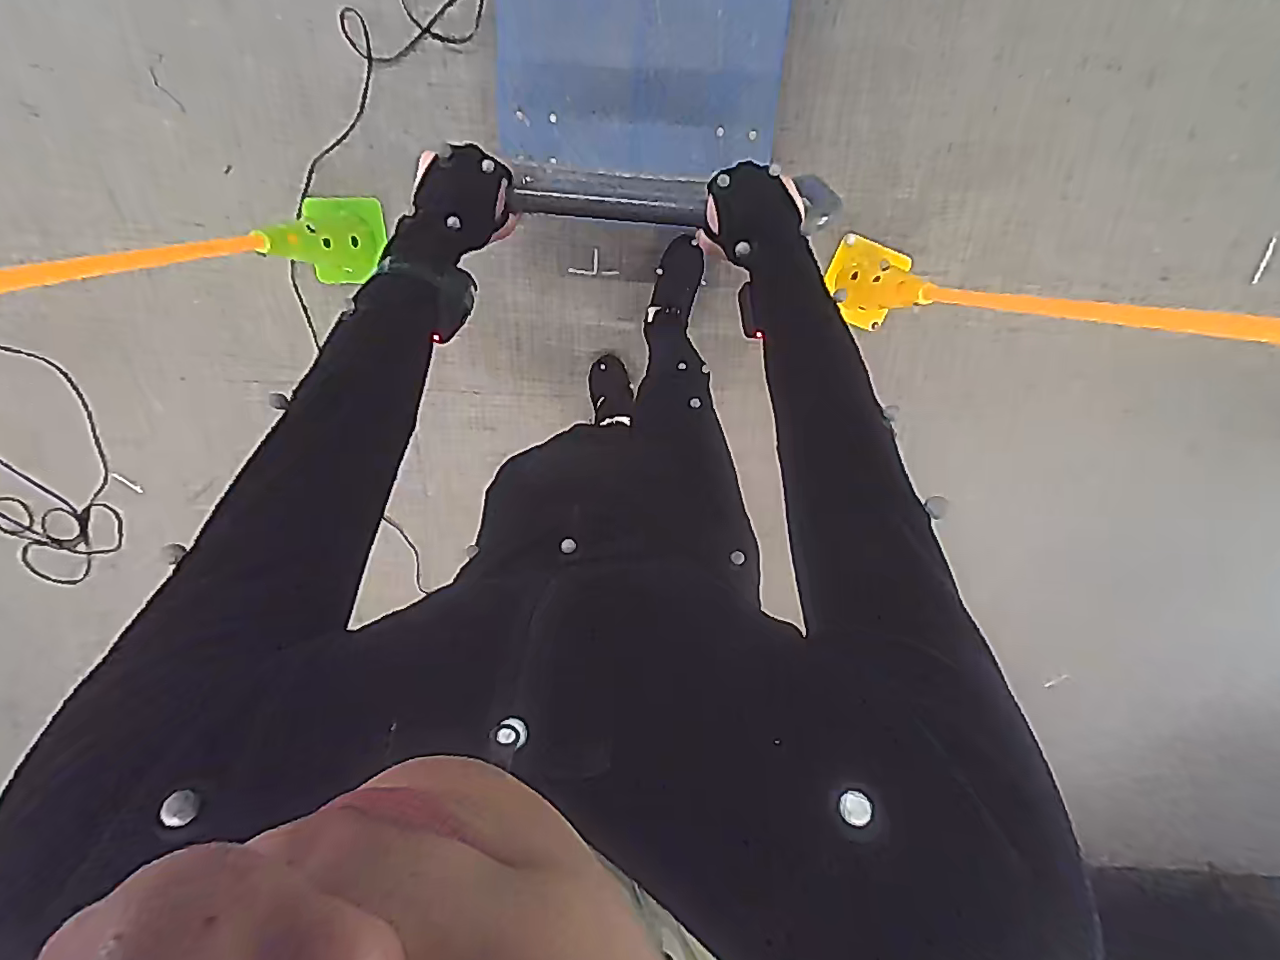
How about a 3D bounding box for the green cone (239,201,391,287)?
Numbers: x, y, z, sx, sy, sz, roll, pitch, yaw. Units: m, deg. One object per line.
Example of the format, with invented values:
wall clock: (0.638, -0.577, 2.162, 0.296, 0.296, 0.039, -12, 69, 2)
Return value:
green cone: (-0.753, -0.533, 1.219, 0.202, 0.368, 0.200, 0, 113, 2)
